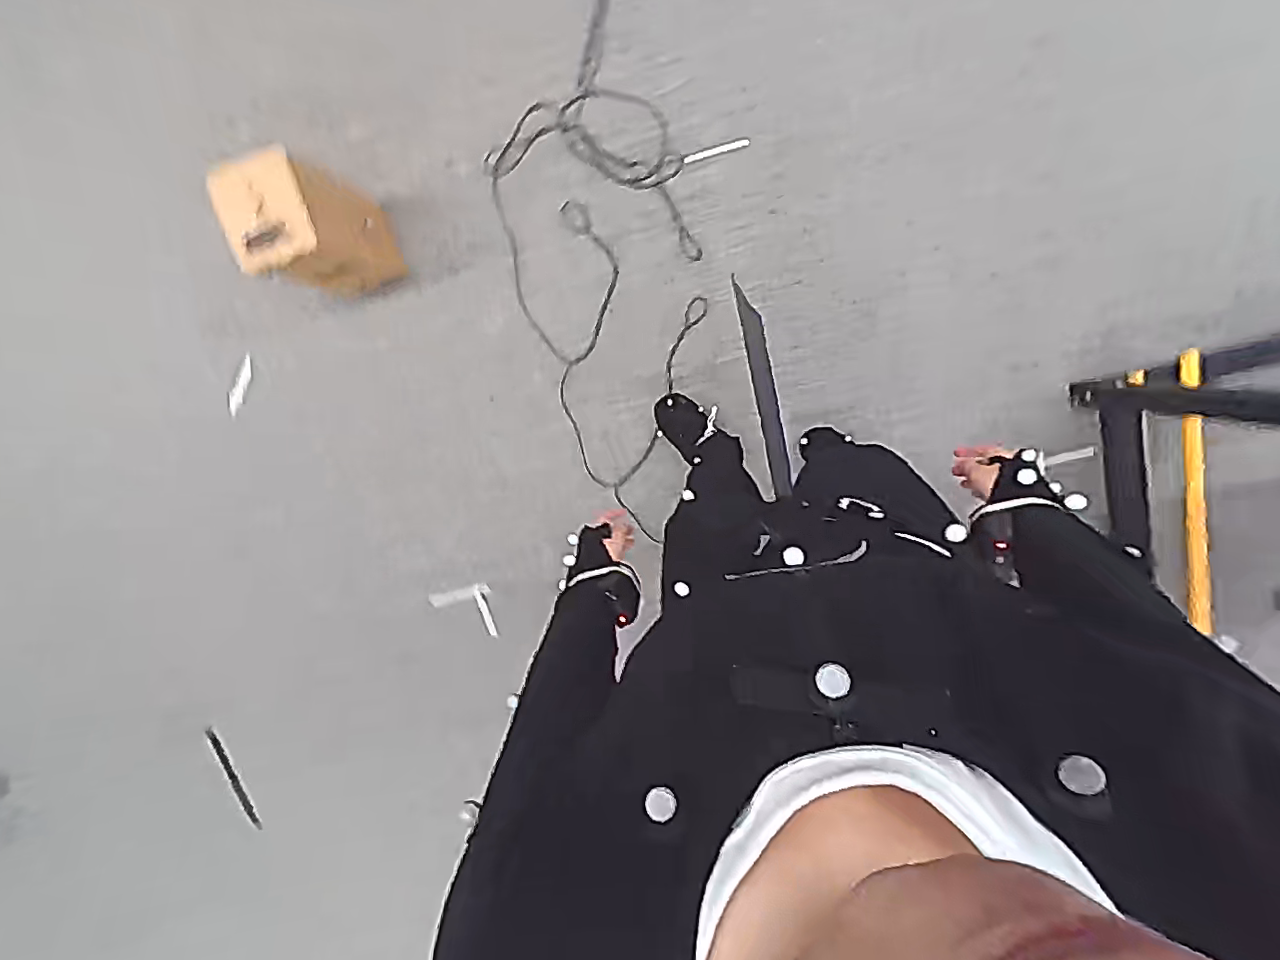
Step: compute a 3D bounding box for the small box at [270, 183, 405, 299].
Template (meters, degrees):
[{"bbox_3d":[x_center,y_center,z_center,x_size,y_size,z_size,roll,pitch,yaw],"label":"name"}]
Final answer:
[{"bbox_3d":[-0.673,-0.530,1.226,0.168,0.176,0.179,-20,101,9],"label":"small box"}]
